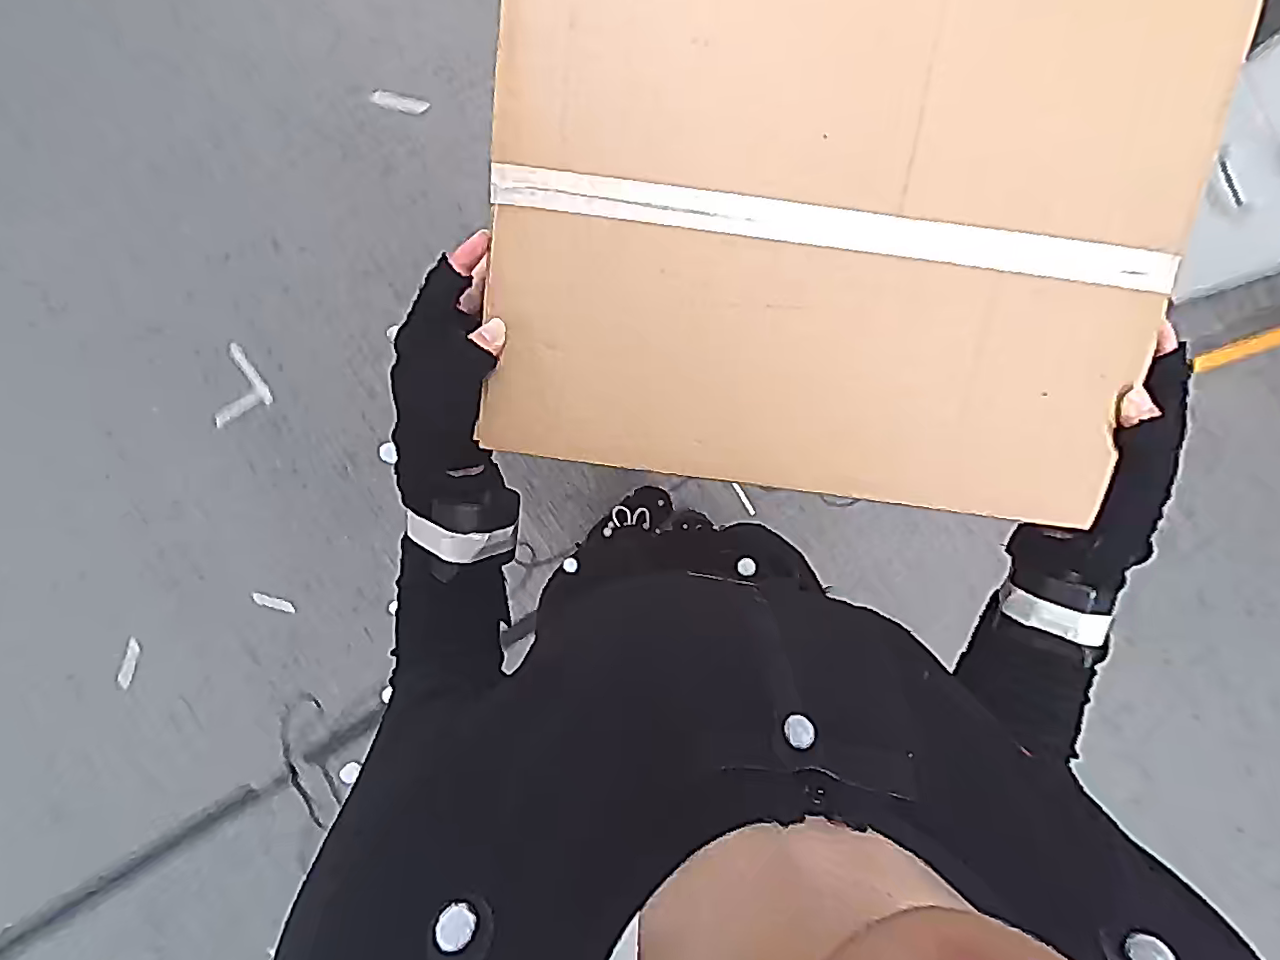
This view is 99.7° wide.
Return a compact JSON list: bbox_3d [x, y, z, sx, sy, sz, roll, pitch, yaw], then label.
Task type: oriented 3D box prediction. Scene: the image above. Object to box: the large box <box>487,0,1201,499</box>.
[{"bbox_3d":[0.106,-0.183,0.477,0.408,0.320,0.320,6,103,-1],"label":"large box"}]
